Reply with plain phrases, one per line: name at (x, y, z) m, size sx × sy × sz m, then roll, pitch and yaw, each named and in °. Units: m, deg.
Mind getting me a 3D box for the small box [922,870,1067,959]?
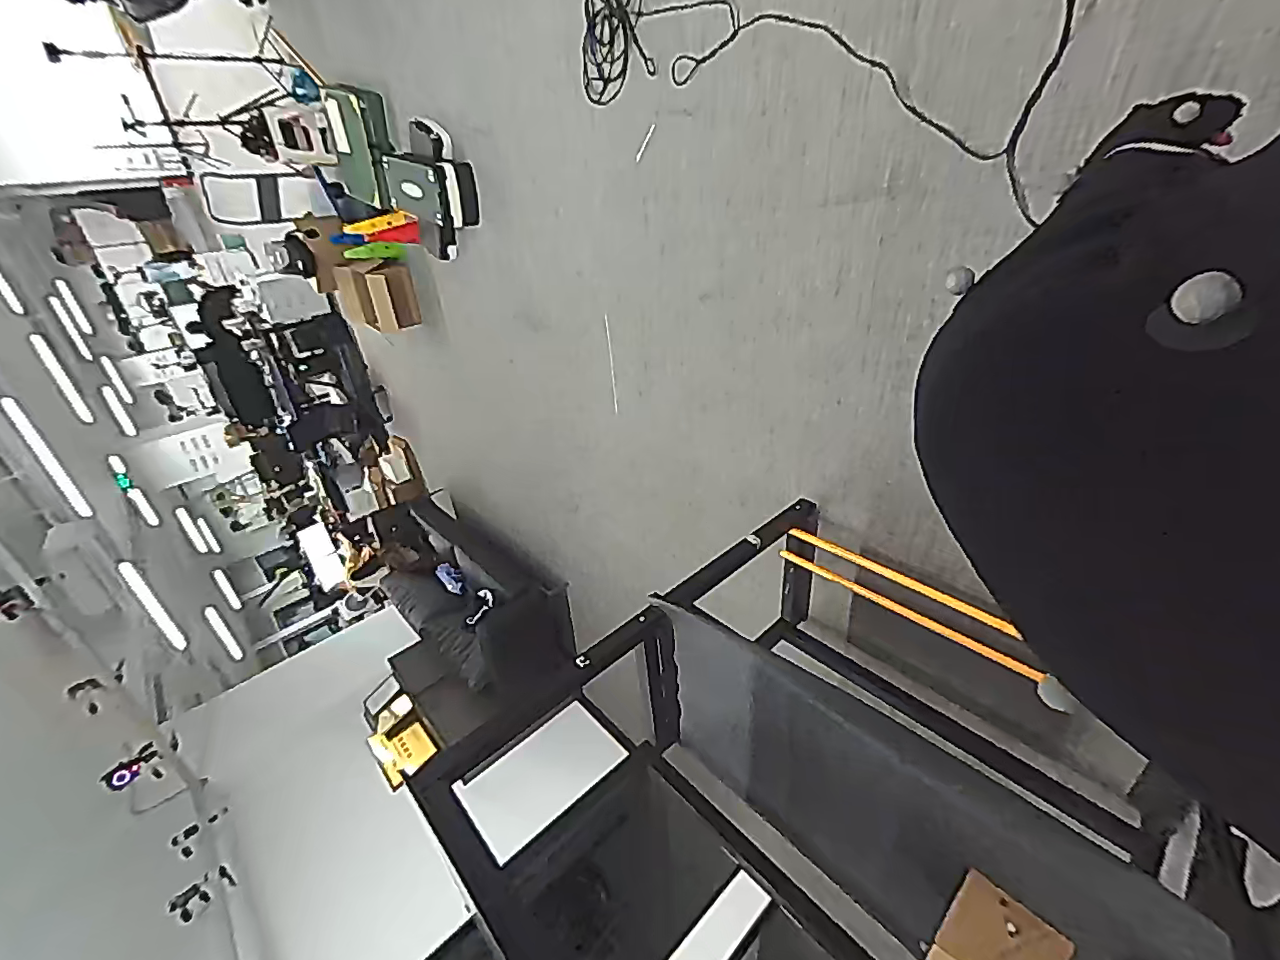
small box at (0.632, 0.867, 0.976) m, size 0.168 × 0.176 × 0.179 m, roll 26°, pitch 132°, yaw 42°
